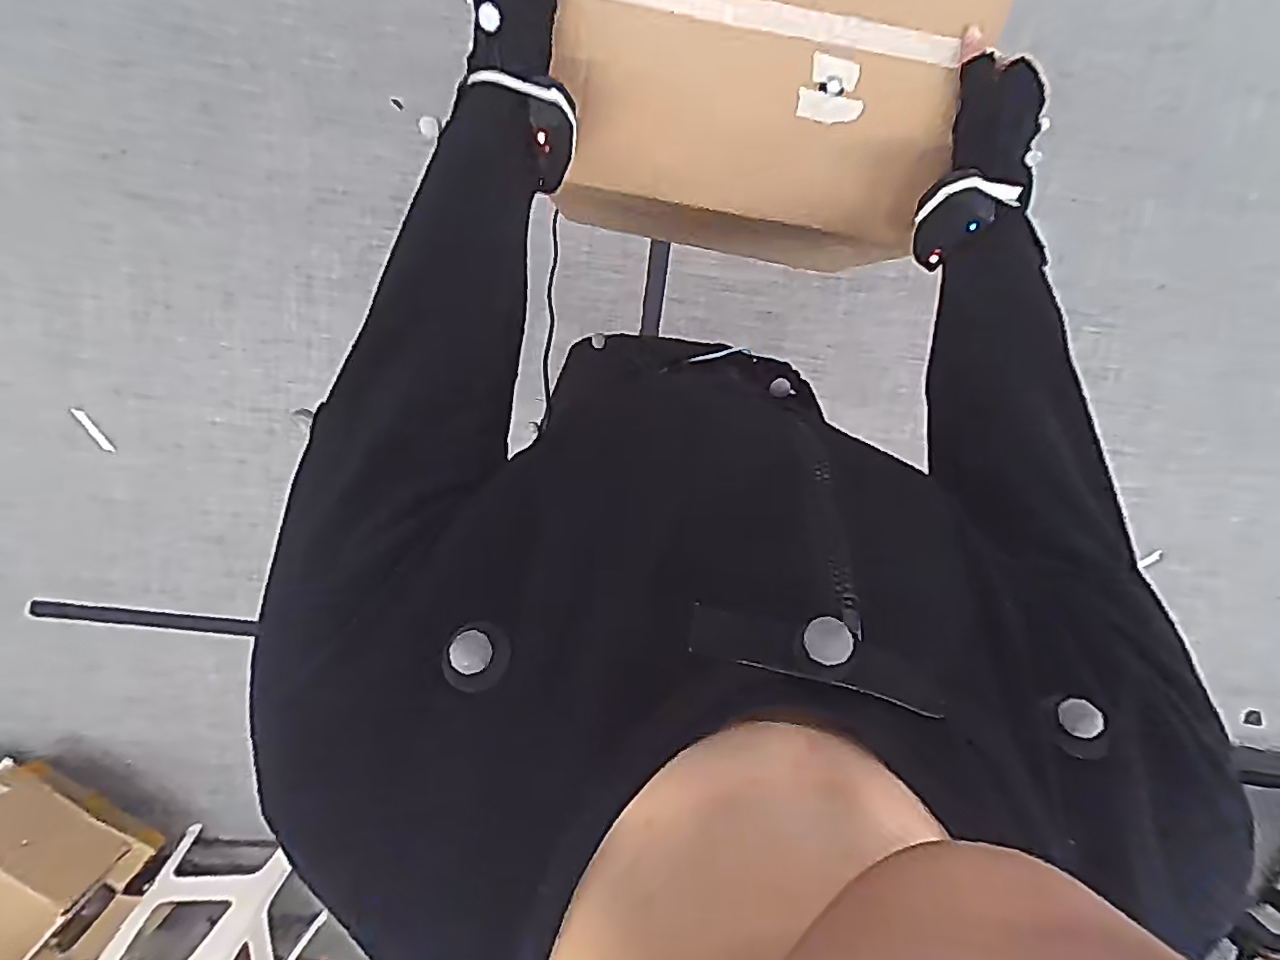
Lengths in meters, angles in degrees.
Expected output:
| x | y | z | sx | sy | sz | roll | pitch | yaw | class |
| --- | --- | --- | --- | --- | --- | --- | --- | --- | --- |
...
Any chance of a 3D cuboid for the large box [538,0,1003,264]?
| x | y | z | sx | sy | sz | roll | pitch | yaw | class |
| --- | --- | --- | --- | --- | --- | --- | --- | --- | --- |
| 0.116 | -0.457 | 0.629 | 0.408 | 0.320 | 0.320 | 10 | 108 | -4 | large box |
